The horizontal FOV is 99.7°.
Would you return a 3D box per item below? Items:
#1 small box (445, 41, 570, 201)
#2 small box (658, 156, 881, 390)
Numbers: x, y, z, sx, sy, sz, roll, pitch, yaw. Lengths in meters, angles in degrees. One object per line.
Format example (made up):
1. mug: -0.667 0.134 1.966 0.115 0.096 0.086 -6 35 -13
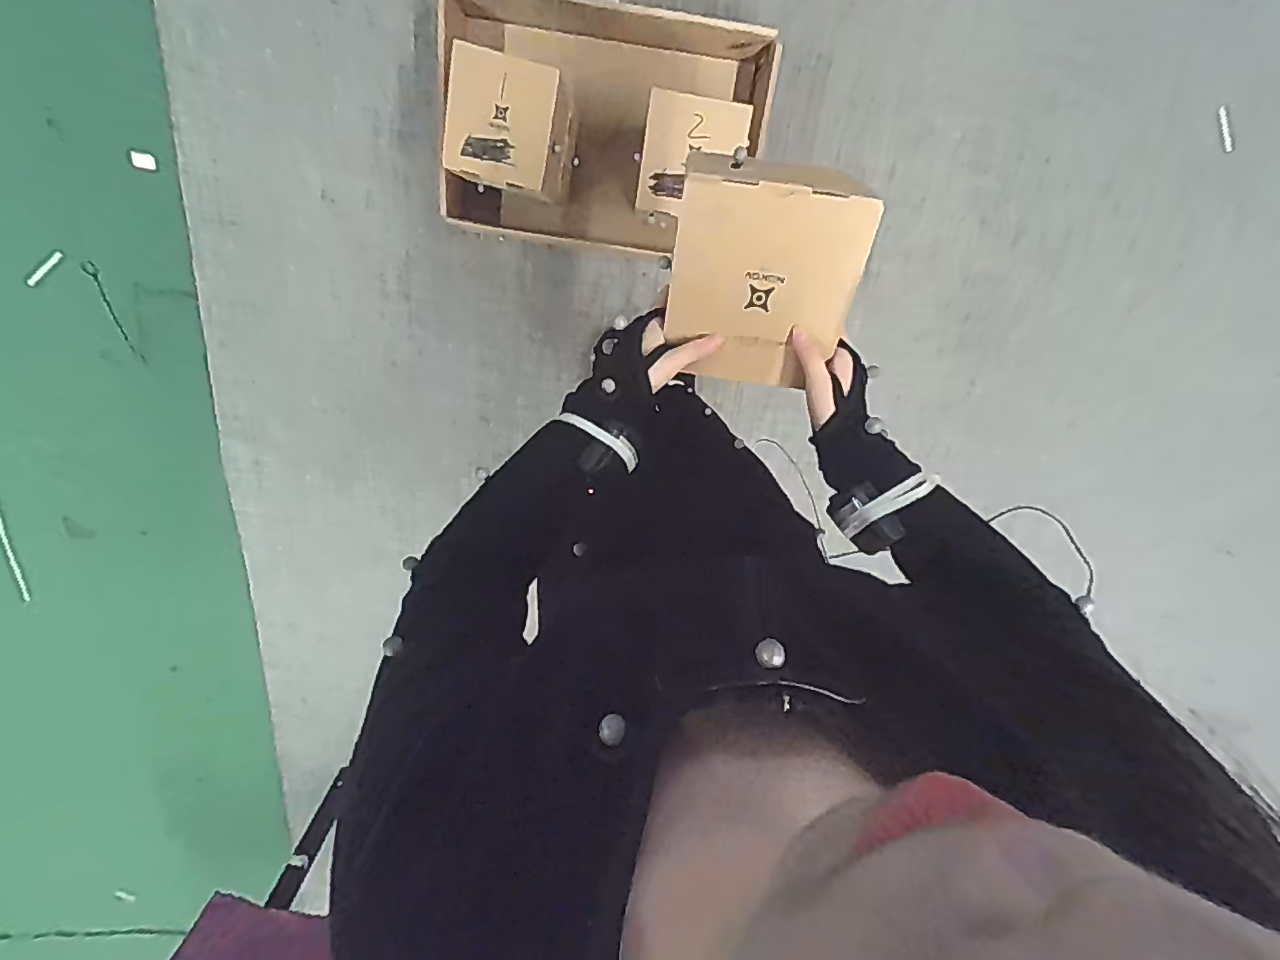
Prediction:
1. small box: -0.220 -0.597 0.928 0.168 0.176 0.179 12 110 -6
2. small box: 0.116 -0.218 0.556 0.168 0.176 0.179 9 128 1
